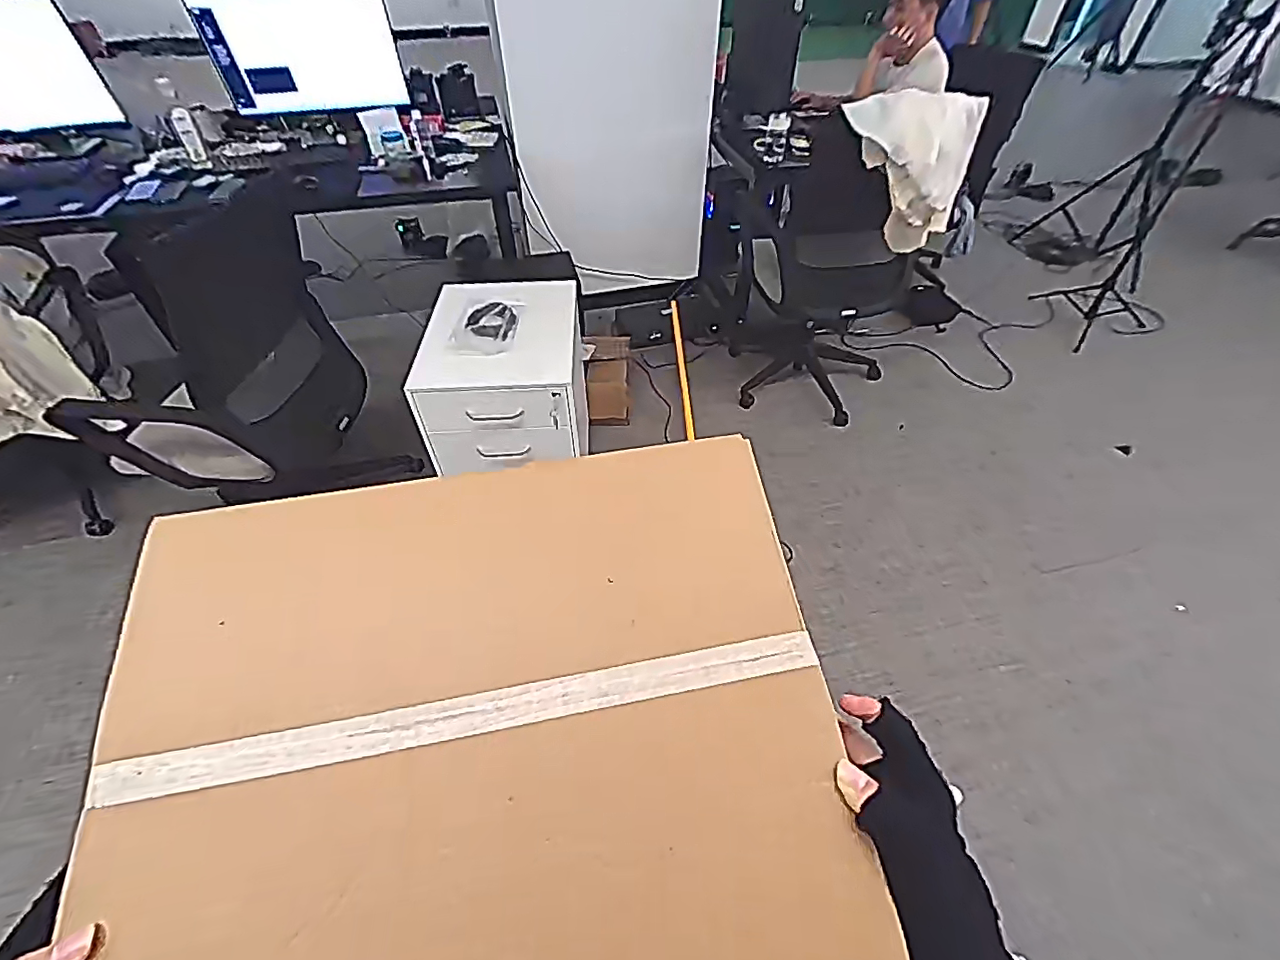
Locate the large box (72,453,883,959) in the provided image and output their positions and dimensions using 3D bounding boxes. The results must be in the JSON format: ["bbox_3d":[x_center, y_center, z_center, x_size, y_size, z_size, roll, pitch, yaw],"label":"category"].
[{"bbox_3d":[-0.098,0.210,0.450,0.408,0.320,0.320,-9,63,-6],"label":"large box"}]
